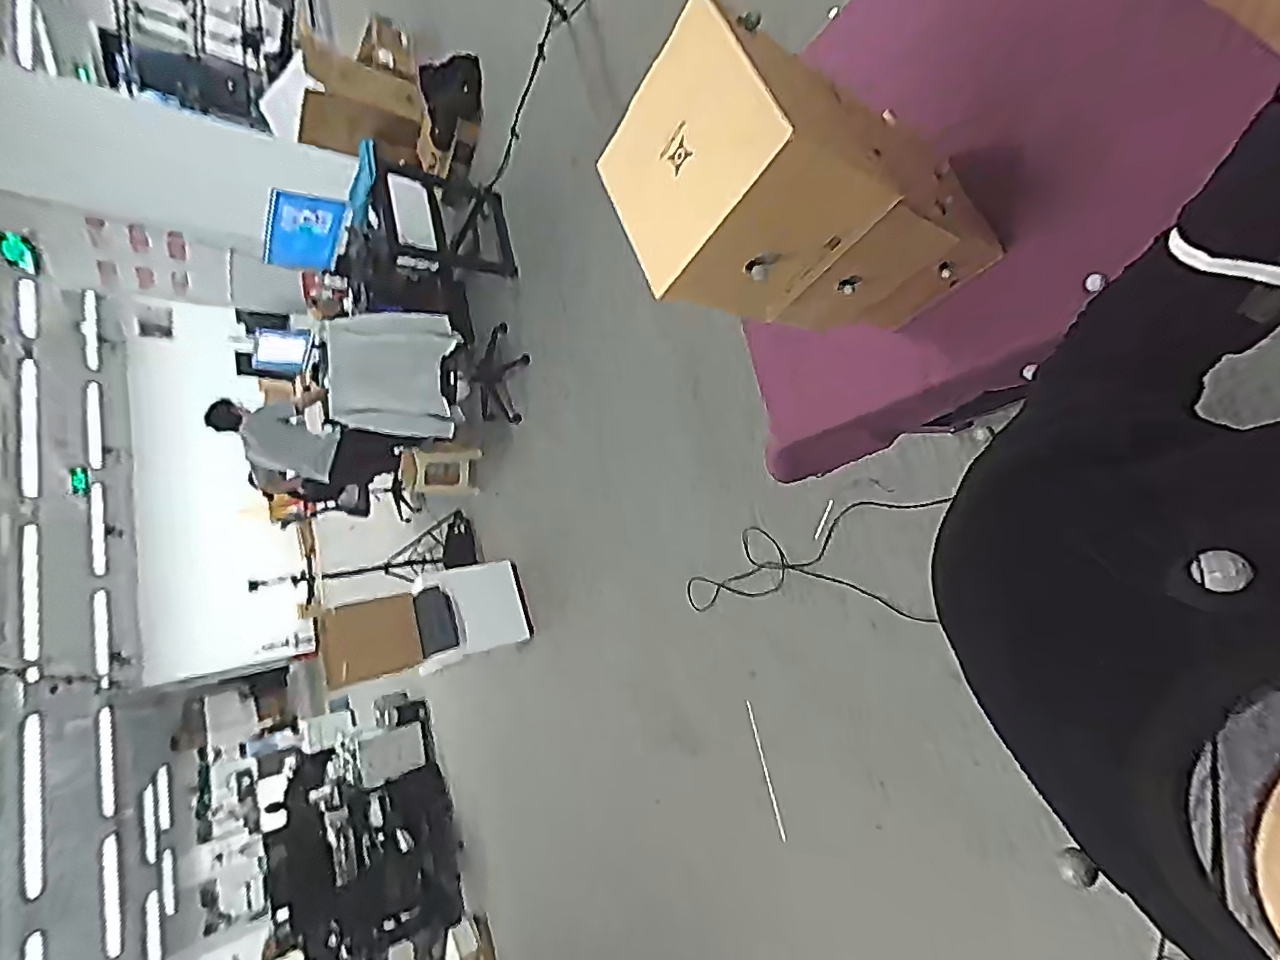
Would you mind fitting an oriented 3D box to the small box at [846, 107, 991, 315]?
[{"bbox_3d":[0.328,-0.340,0.725,0.168,0.176,0.179,-35,67,46],"label":"small box"}]

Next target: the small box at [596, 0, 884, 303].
[{"bbox_3d":[0.090,-0.286,0.506,0.168,0.176,0.179,-40,63,45],"label":"small box"}]

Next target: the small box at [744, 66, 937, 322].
[{"bbox_3d":[0.207,-0.304,0.618,0.179,0.176,0.168,-35,67,46],"label":"small box"}]
